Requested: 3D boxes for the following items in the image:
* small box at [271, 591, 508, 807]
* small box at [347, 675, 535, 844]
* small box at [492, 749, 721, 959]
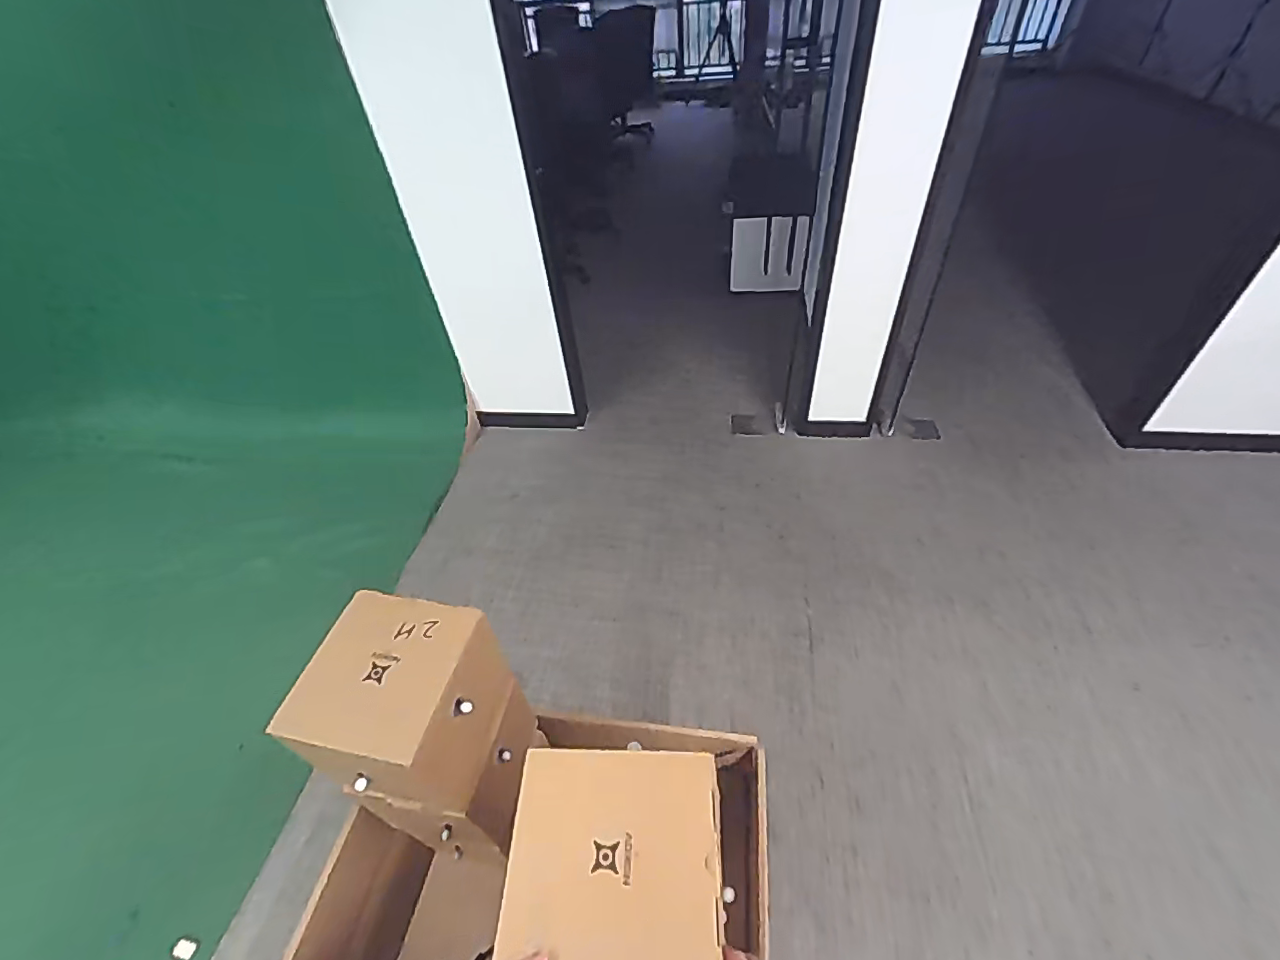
[{"bbox_3d":[-0.274,0.262,0.645,0.168,0.176,0.179,8,46,10],"label":"small box"},{"bbox_3d":[-0.259,0.381,0.756,0.168,0.176,0.179,6,45,10],"label":"small box"},{"bbox_3d":[-0.014,0.365,0.506,0.179,0.176,0.168,-1,50,6],"label":"small box"}]
